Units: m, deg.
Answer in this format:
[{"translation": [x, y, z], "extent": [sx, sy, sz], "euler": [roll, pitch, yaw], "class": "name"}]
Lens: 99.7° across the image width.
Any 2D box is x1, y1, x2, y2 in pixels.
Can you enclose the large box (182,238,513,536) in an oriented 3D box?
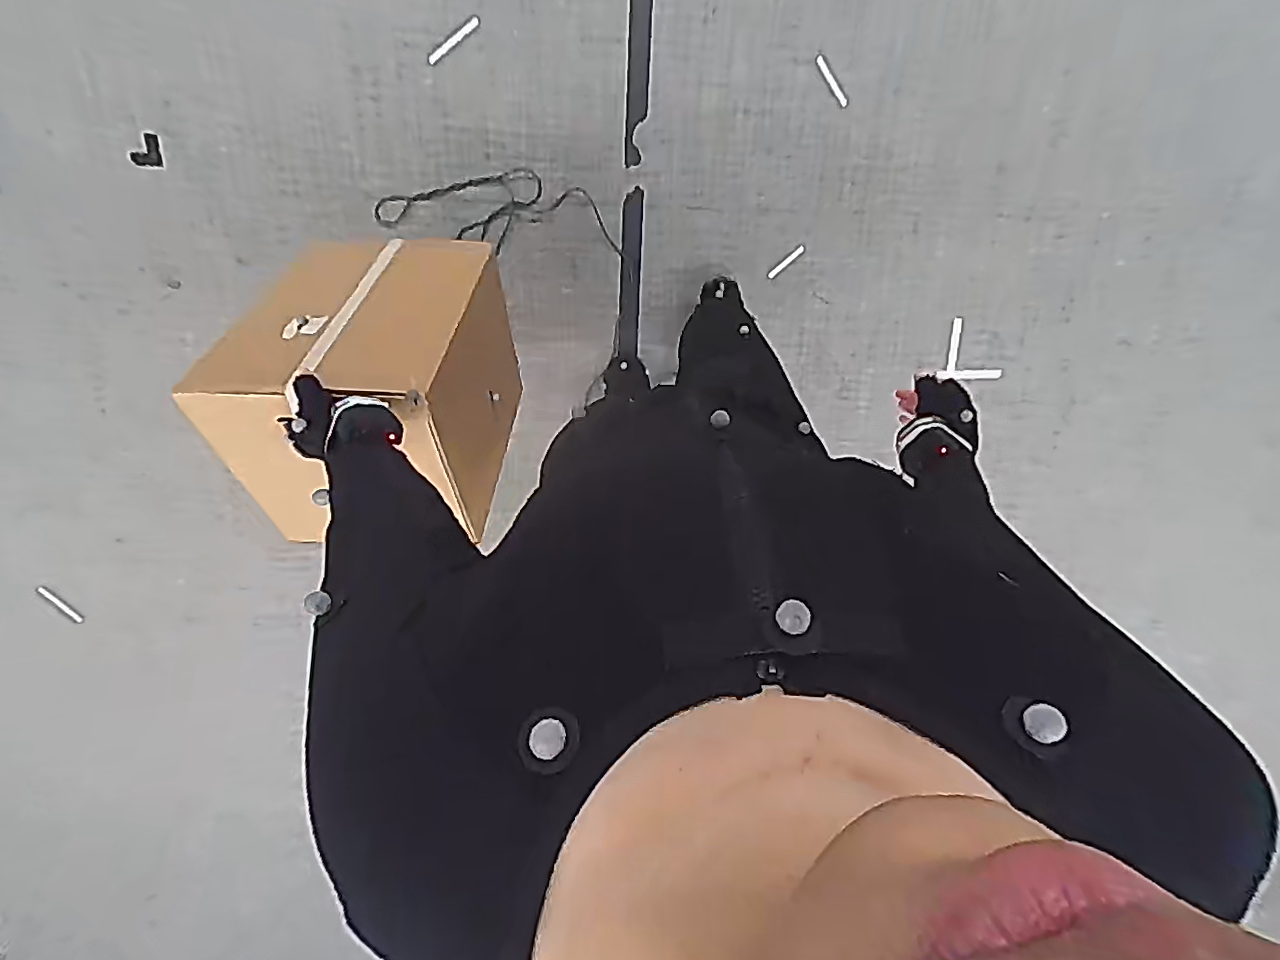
[{"translation": [-0.416, -0.158, 0.906], "extent": [0.320, 0.408, 0.320], "euler": [1, 140, 1], "class": "large box"}]
